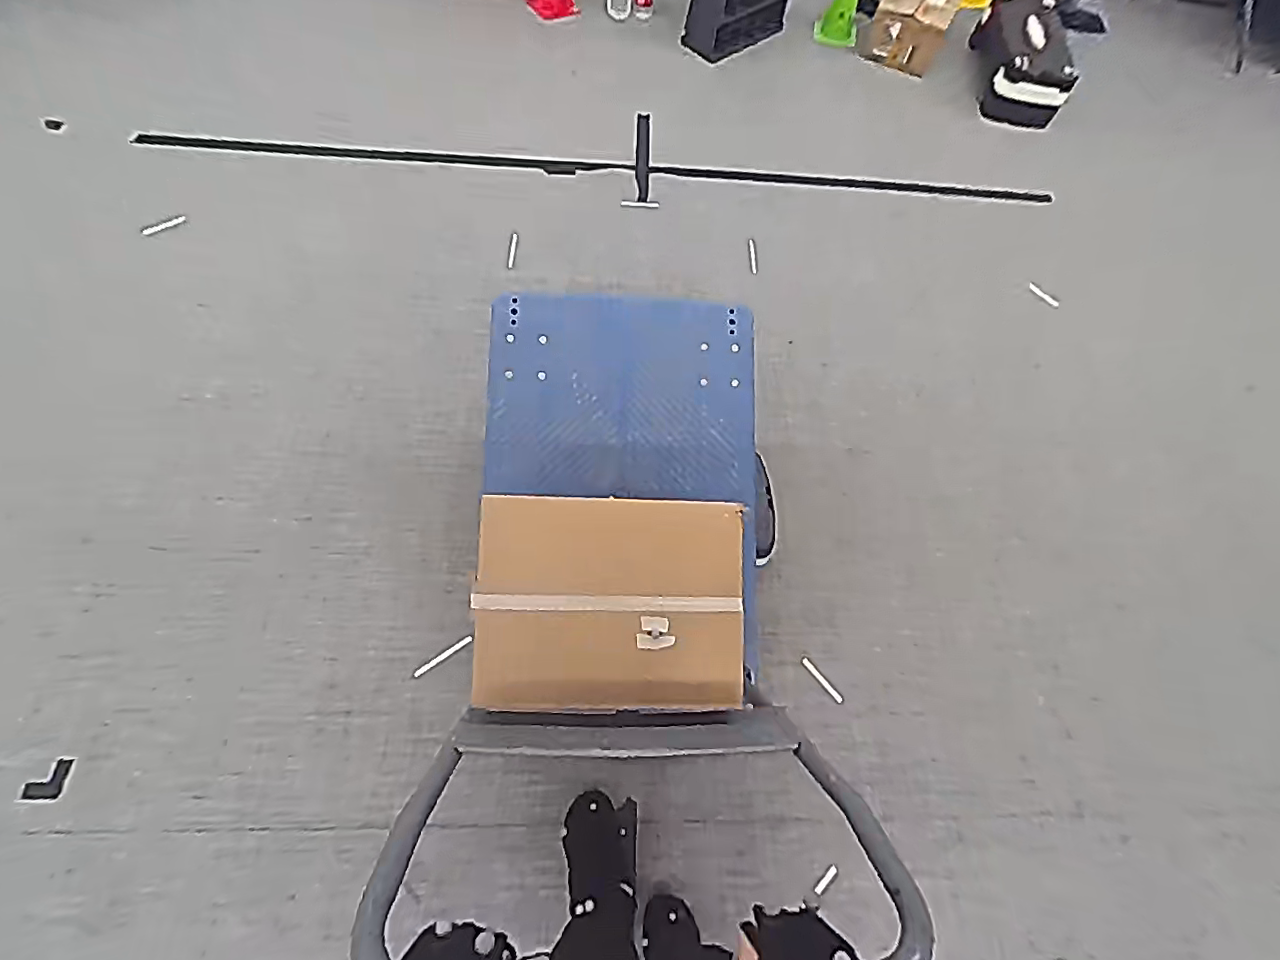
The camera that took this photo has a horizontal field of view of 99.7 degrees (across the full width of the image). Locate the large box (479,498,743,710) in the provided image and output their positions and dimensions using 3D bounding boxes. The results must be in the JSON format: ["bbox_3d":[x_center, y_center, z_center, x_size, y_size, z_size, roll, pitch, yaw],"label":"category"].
[{"bbox_3d":[-0.055,0.202,0.968,0.408,0.320,0.320,2,84,-6],"label":"large box"}]
